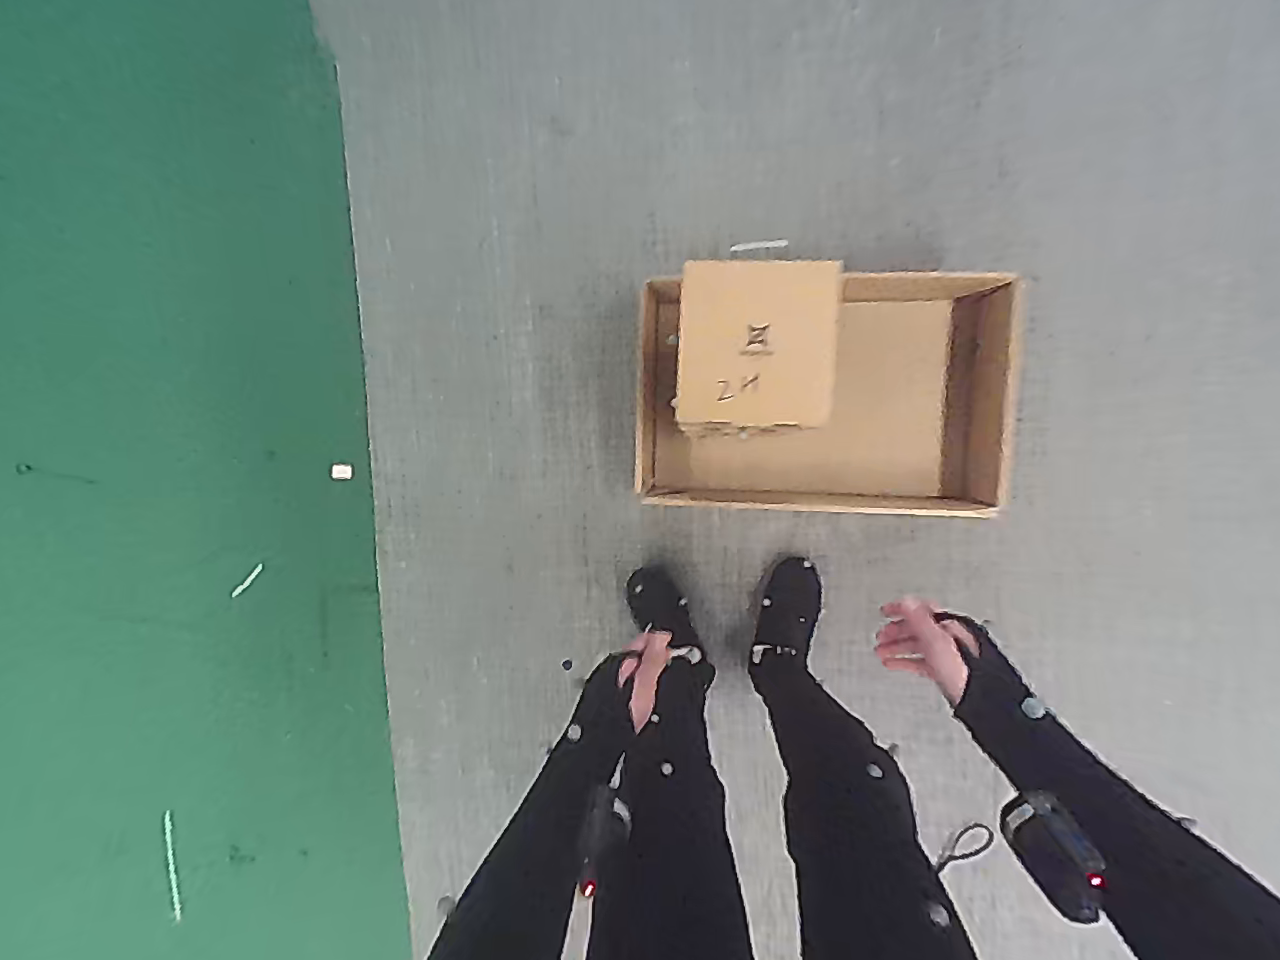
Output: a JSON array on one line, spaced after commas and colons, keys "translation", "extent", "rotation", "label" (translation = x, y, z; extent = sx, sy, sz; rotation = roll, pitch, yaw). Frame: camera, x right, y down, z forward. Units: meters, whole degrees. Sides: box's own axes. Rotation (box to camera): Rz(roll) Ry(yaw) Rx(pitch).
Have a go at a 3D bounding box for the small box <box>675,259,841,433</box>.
[{"translation": [0.132, -0.149, 0.651], "extent": [0.168, 0.176, 0.179], "rotation": [3, 94, 7], "label": "small box"}]
